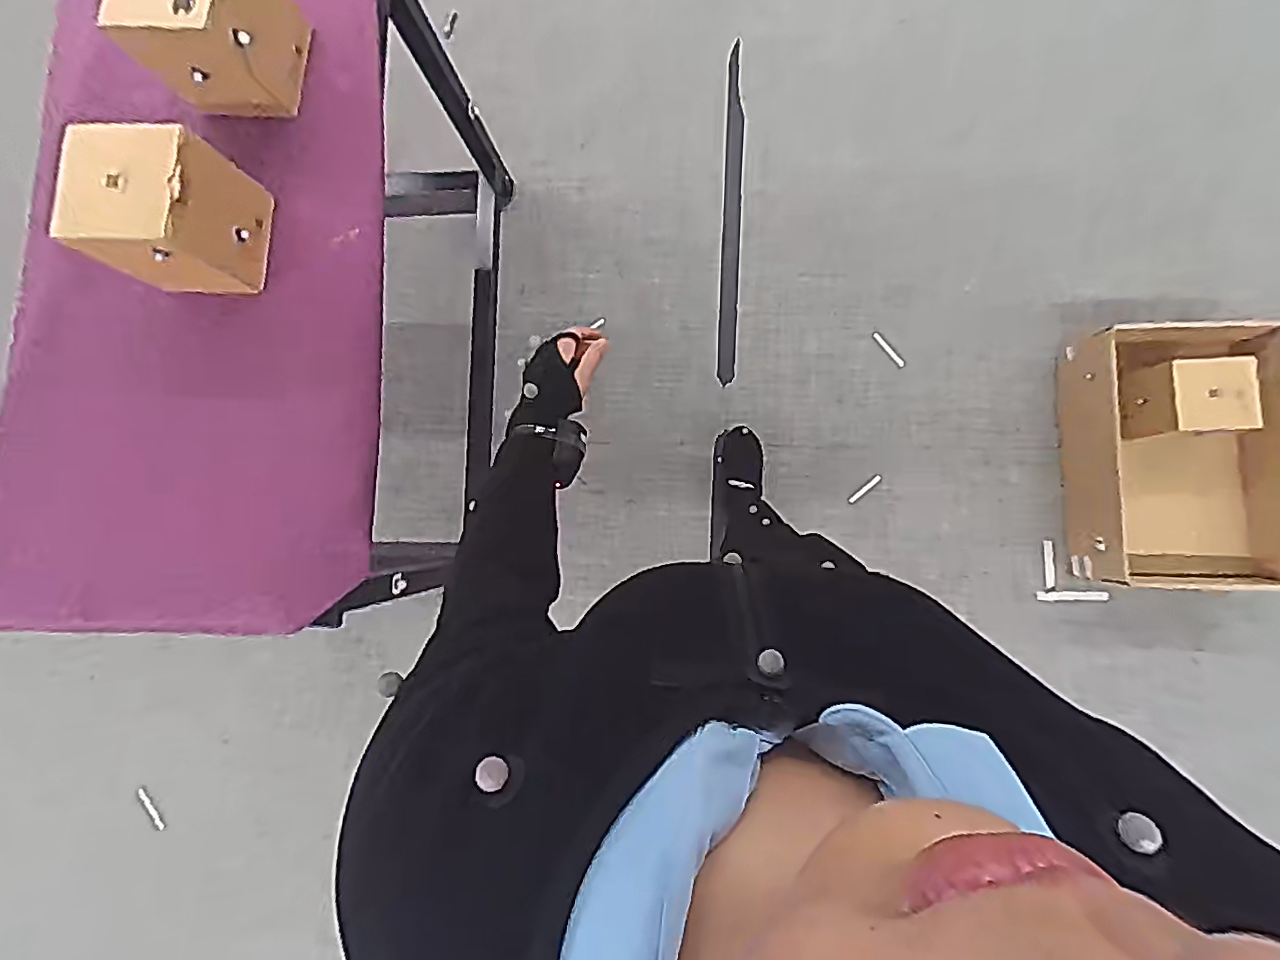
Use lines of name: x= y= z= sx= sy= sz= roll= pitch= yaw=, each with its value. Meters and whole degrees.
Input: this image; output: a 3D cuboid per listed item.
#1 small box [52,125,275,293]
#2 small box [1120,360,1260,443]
small box: x=-0.696 y=-0.392 z=0.808 sx=0.179 sy=0.176 sz=0.168 roll=3 pitch=85 yaw=5
small box: x=1.307 y=-0.183 z=1.302 sx=0.179 sy=0.176 sz=0.168 roll=-1 pitch=86 yaw=5
